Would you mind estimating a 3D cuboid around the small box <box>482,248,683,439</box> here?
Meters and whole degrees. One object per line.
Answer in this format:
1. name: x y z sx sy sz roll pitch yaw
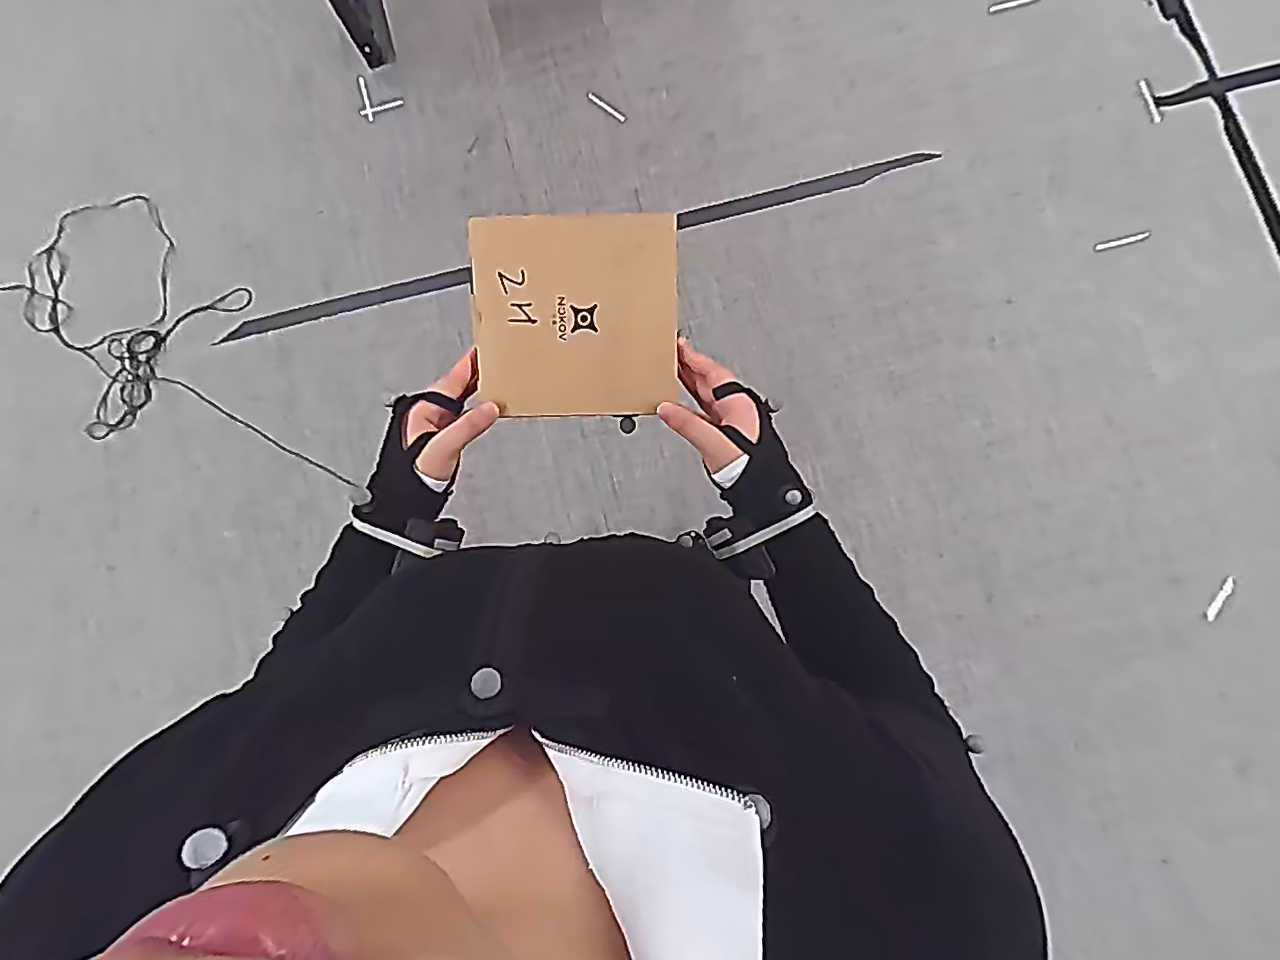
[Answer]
1. small box: -0.049 -0.130 0.554 0.179 0.176 0.168 -1 97 2
